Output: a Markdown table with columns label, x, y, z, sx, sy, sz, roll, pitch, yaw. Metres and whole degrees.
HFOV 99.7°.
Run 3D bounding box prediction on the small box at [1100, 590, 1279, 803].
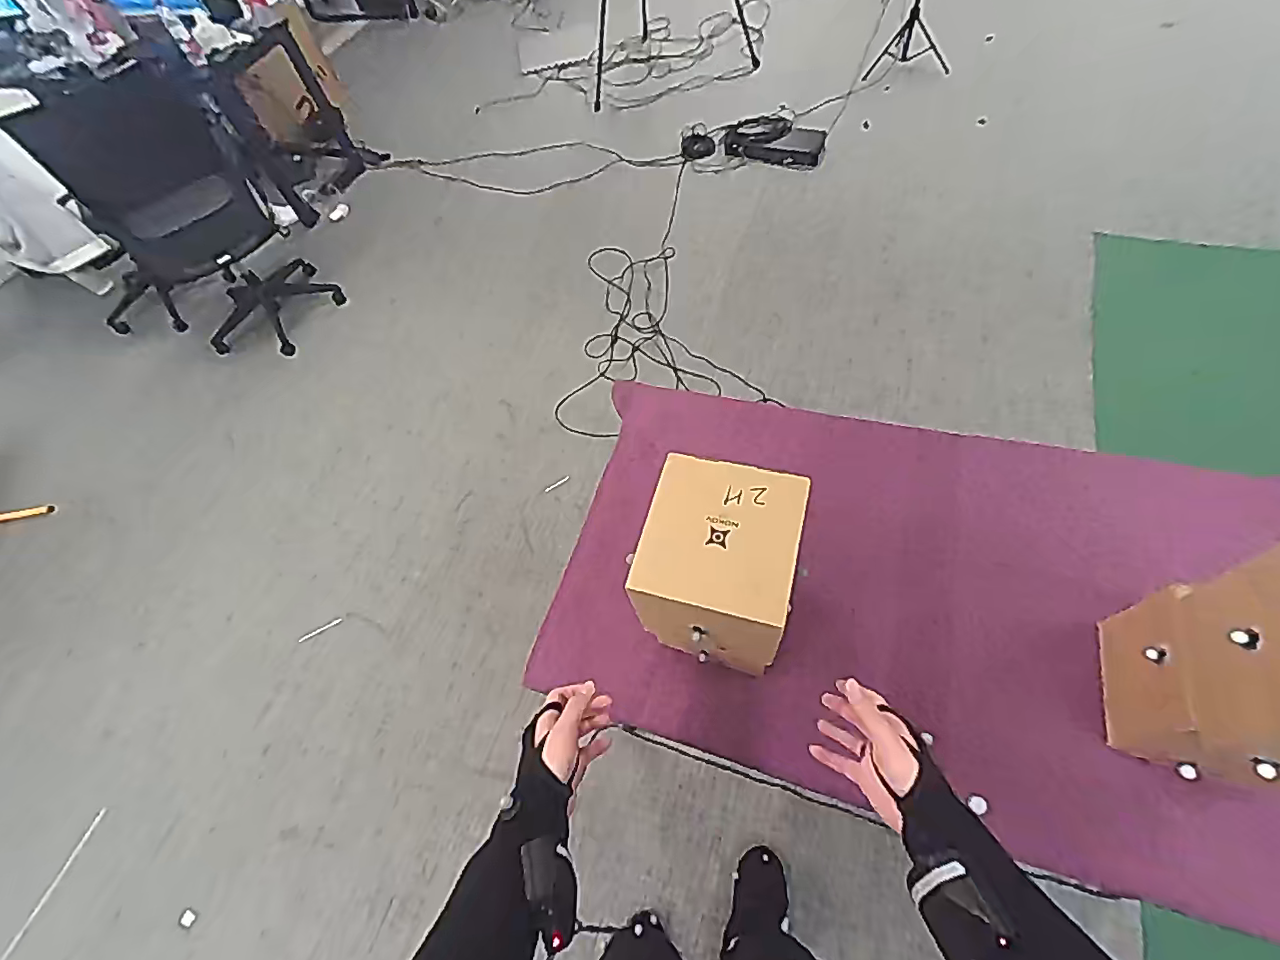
| label | x | y | z | sx | sy | sz | roll | pitch | yaw |
| --- | --- | --- | --- | --- | --- | --- | --- | --- | --- |
| small box | 0.694 | 0.262 | 0.650 | 0.168 | 0.176 | 0.179 | 14 | 62 | 18 |

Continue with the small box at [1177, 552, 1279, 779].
| label | x | y | z | sx | sy | sz | roll | pitch | yaw |
| --- | --- | --- | --- | --- | --- | --- | --- | --- | --- |
| small box | 0.663 | 0.191 | 0.505 | 0.168 | 0.176 | 0.179 | 12 | 59 | 17 |

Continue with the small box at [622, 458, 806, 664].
| label | x | y | z | sx | sy | sz | roll | pitch | yaw |
| --- | --- | --- | --- | --- | --- | --- | --- | --- | --- |
| small box | 0.094 | 0.102 | 0.648 | 0.168 | 0.176 | 0.179 | 12 | 62 | 15 |
